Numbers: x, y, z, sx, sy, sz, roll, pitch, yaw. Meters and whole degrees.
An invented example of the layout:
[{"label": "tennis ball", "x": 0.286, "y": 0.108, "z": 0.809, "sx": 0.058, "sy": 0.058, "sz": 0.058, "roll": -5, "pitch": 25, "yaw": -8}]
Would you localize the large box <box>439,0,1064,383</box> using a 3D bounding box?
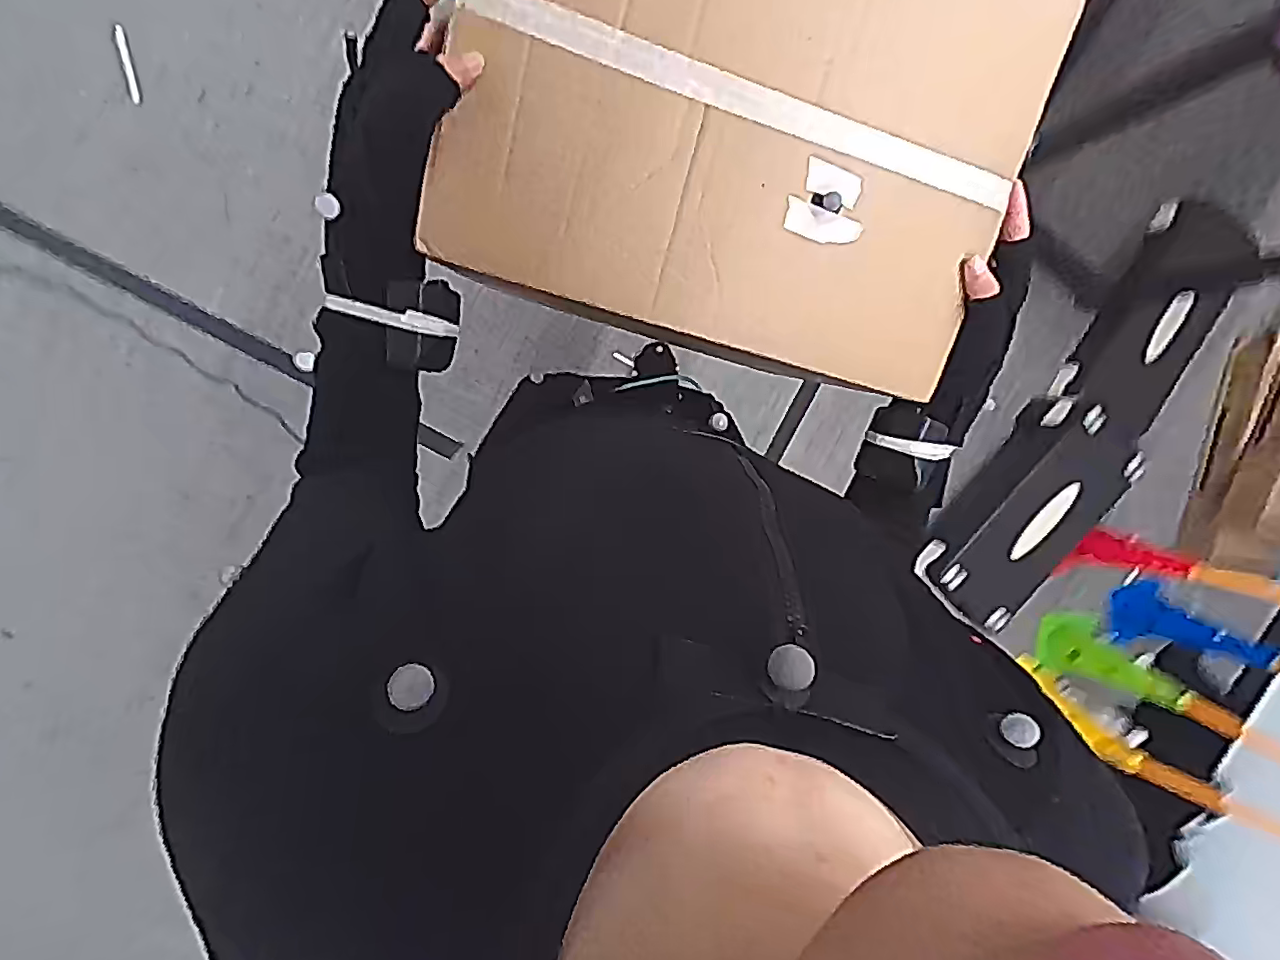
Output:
[{"label": "large box", "x": 0.062, "y": -0.303, "z": 0.523, "sx": 0.408, "sy": 0.320, "sz": 0.320, "roll": 13, "pitch": 104, "yaw": -12}]
